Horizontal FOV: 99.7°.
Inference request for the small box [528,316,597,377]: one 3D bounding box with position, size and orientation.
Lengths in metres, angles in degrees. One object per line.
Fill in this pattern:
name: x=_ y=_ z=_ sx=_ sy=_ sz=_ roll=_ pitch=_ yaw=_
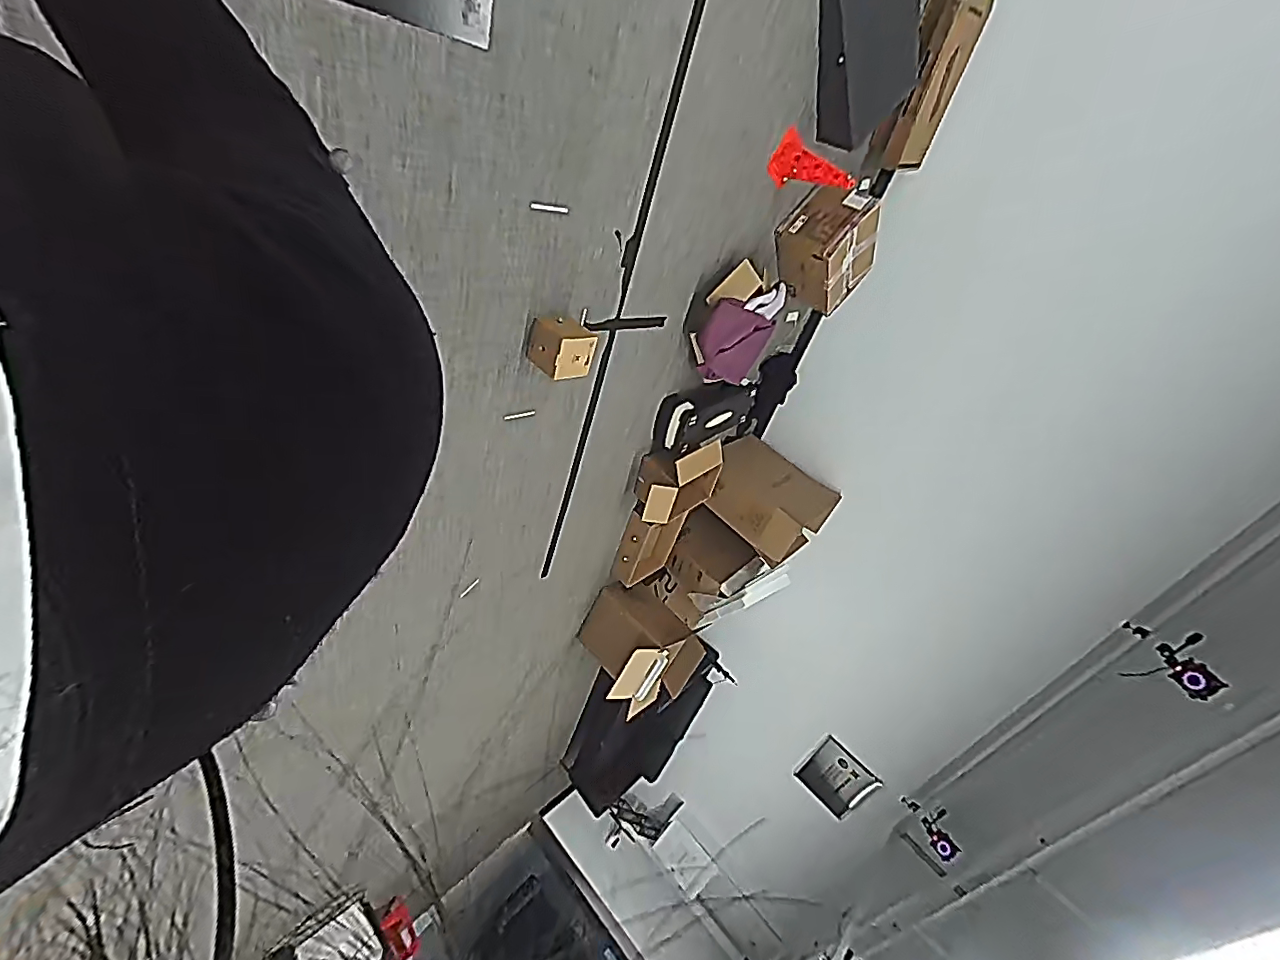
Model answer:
small box: x=-0.295 y=-0.503 z=2.027 sx=0.179 sy=0.176 sz=0.168 roll=-19 pitch=140 yaw=-45
